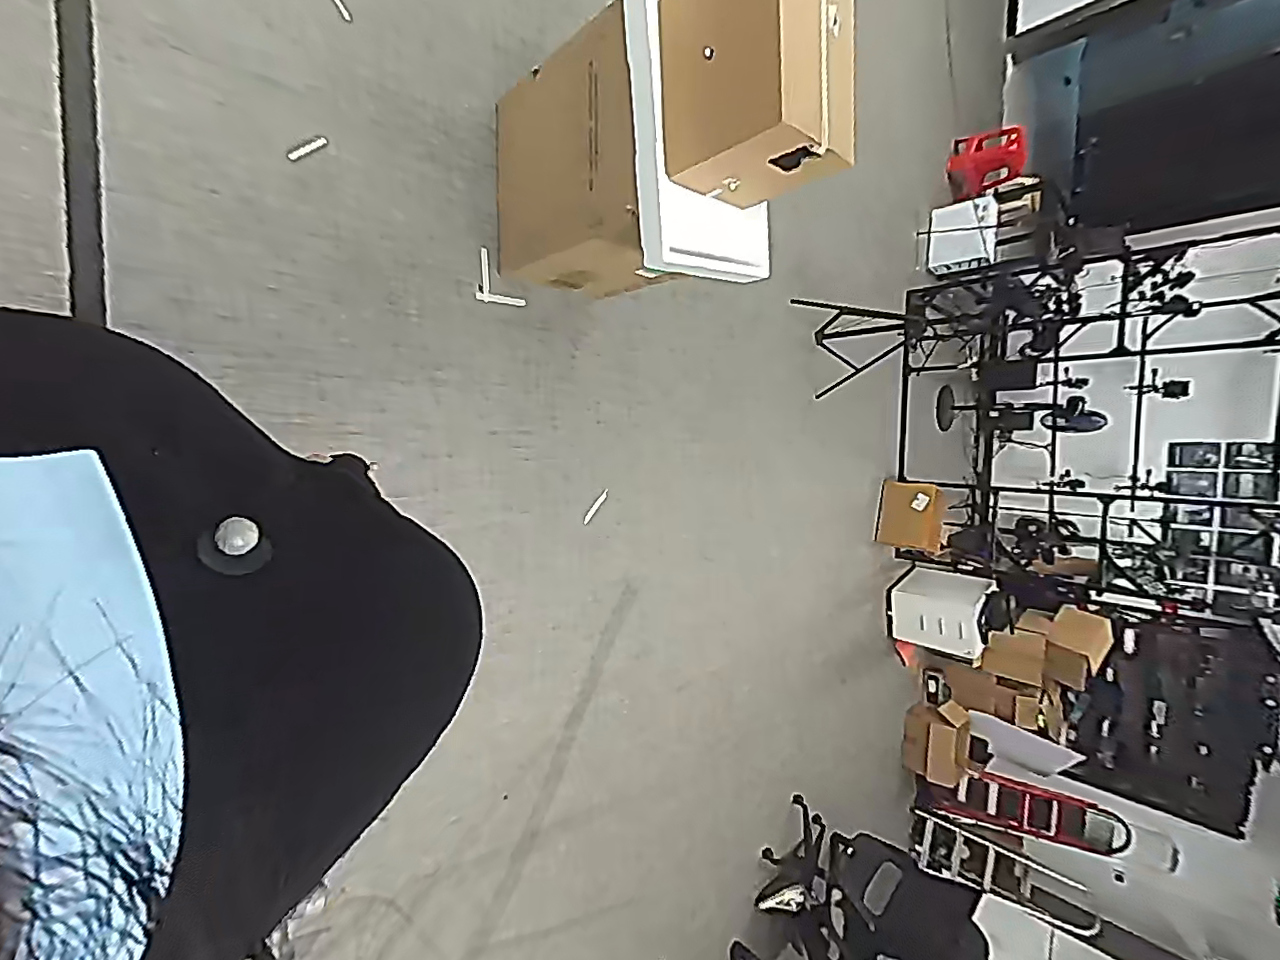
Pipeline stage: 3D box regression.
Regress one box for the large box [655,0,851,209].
[{"bbox_3d":[0.256,-0.892,1.218,0.320,0.320,0.408,-9,98,-45],"label":"large box"}]
